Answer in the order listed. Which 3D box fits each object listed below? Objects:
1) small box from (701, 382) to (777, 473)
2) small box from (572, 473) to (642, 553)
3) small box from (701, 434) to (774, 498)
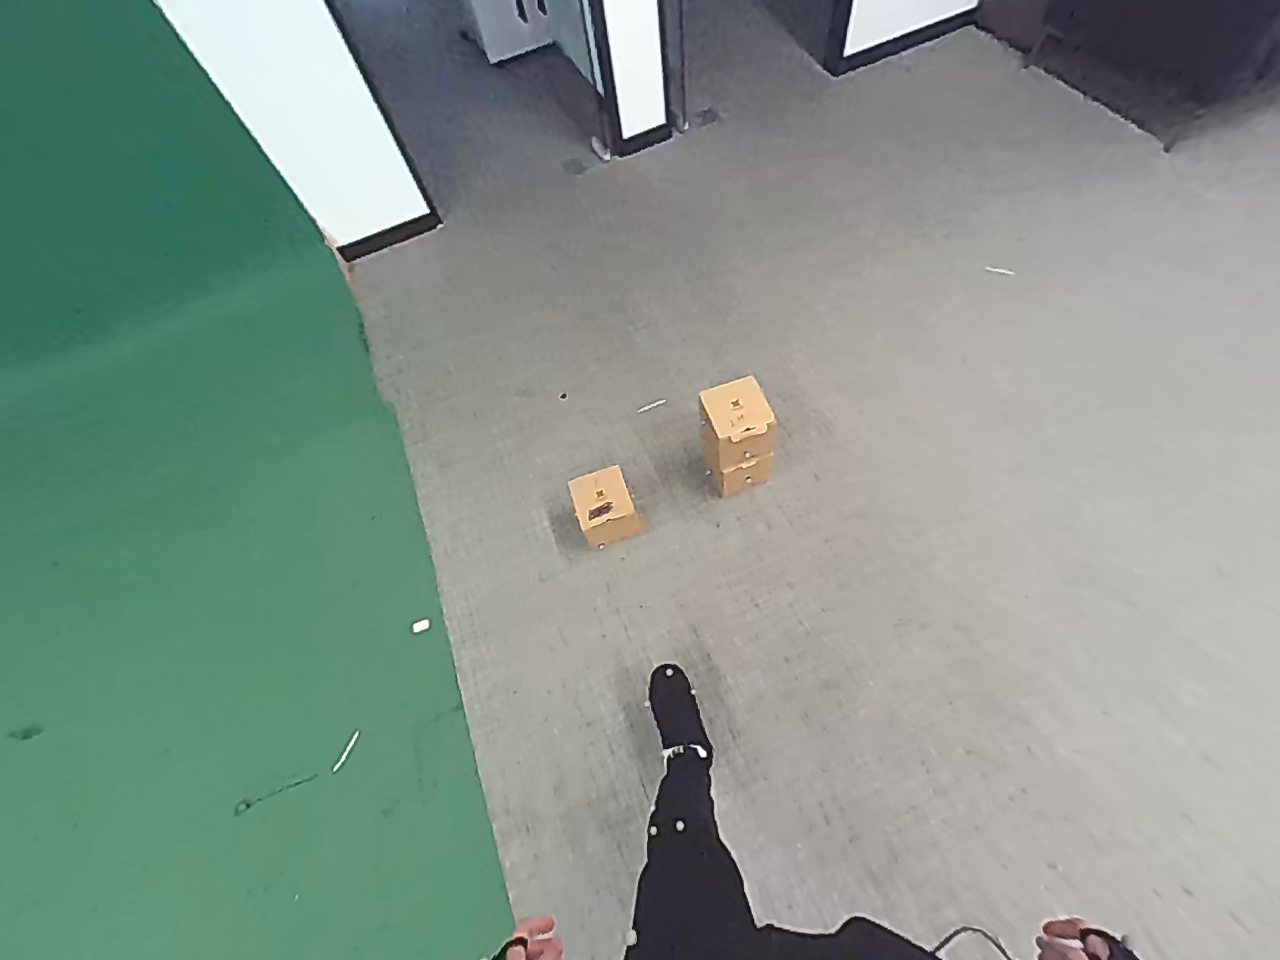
[{"bbox_3d":[0.280,-0.149,1.563,0.168,0.176,0.179,-18,61,-1],"label":"small box"},{"bbox_3d":[-0.098,0.112,1.681,0.168,0.176,0.179,-18,60,-4],"label":"small box"},{"bbox_3d":[0.303,-0.062,1.702,0.168,0.176,0.179,-21,61,-4],"label":"small box"}]
